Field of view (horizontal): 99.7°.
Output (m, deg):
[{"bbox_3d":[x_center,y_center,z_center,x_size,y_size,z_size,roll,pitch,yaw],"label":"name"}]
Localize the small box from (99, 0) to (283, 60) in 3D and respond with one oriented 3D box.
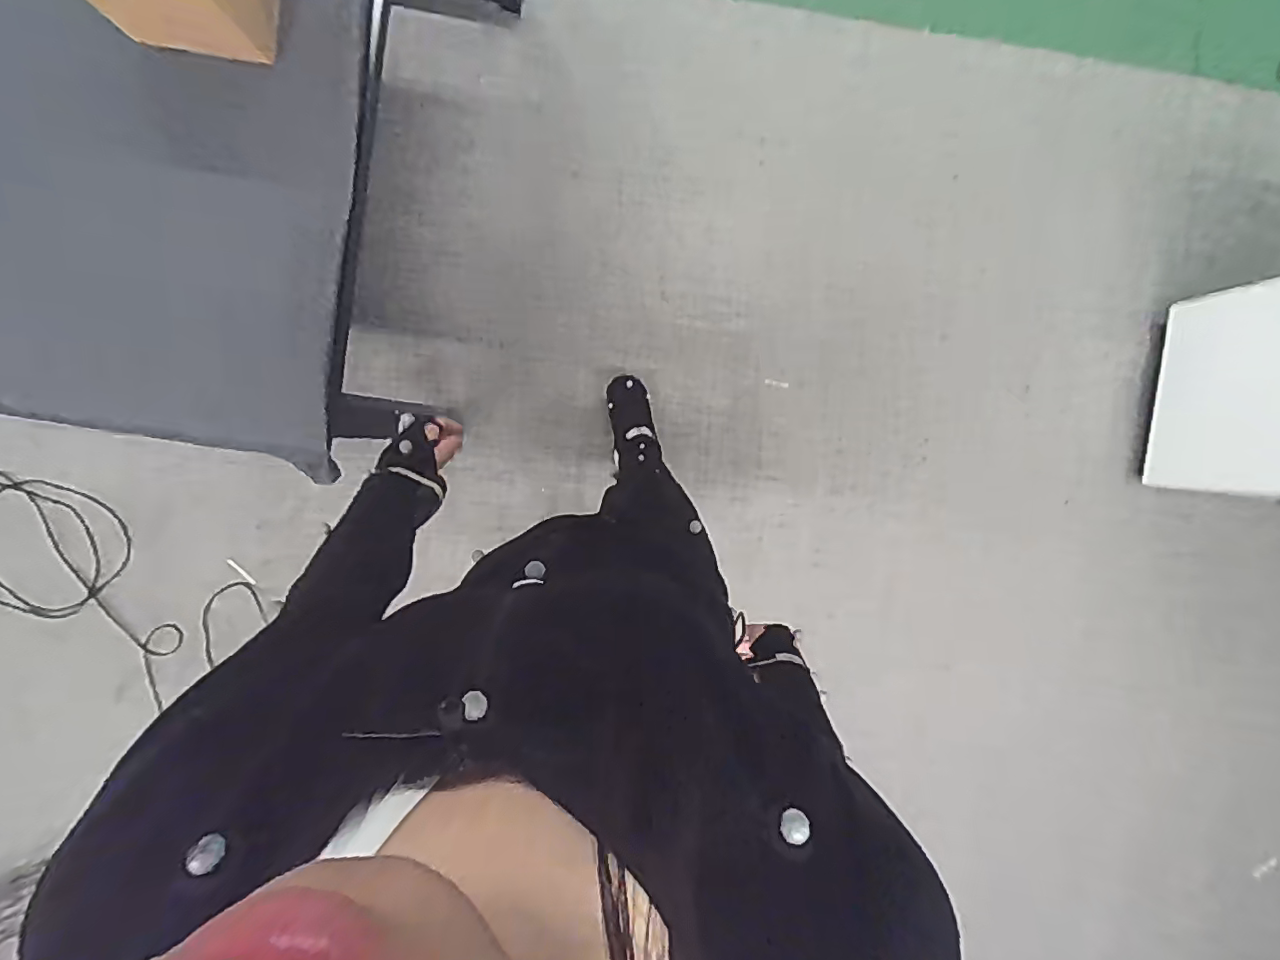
[{"bbox_3d":[-0.539,-0.621,0.607,0.179,0.176,0.168,8,93,-3],"label":"small box"}]
